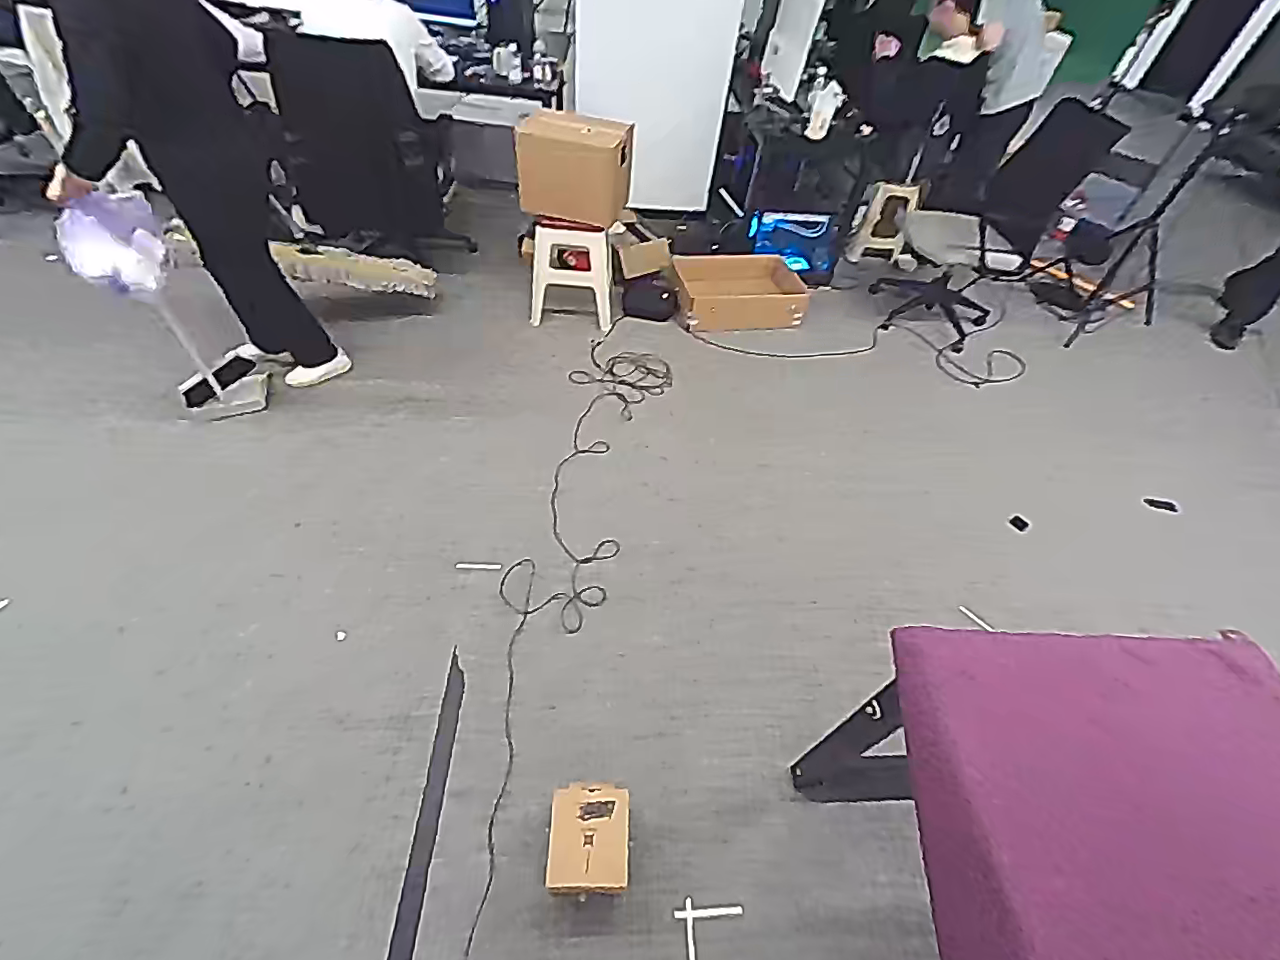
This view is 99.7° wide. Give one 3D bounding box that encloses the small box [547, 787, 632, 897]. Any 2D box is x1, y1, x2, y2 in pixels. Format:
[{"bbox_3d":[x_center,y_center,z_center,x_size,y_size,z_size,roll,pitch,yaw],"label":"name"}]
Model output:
[{"bbox_3d":[-0.109,0.790,1.179,0.168,0.176,0.179,4,48,-4],"label":"small box"}]
